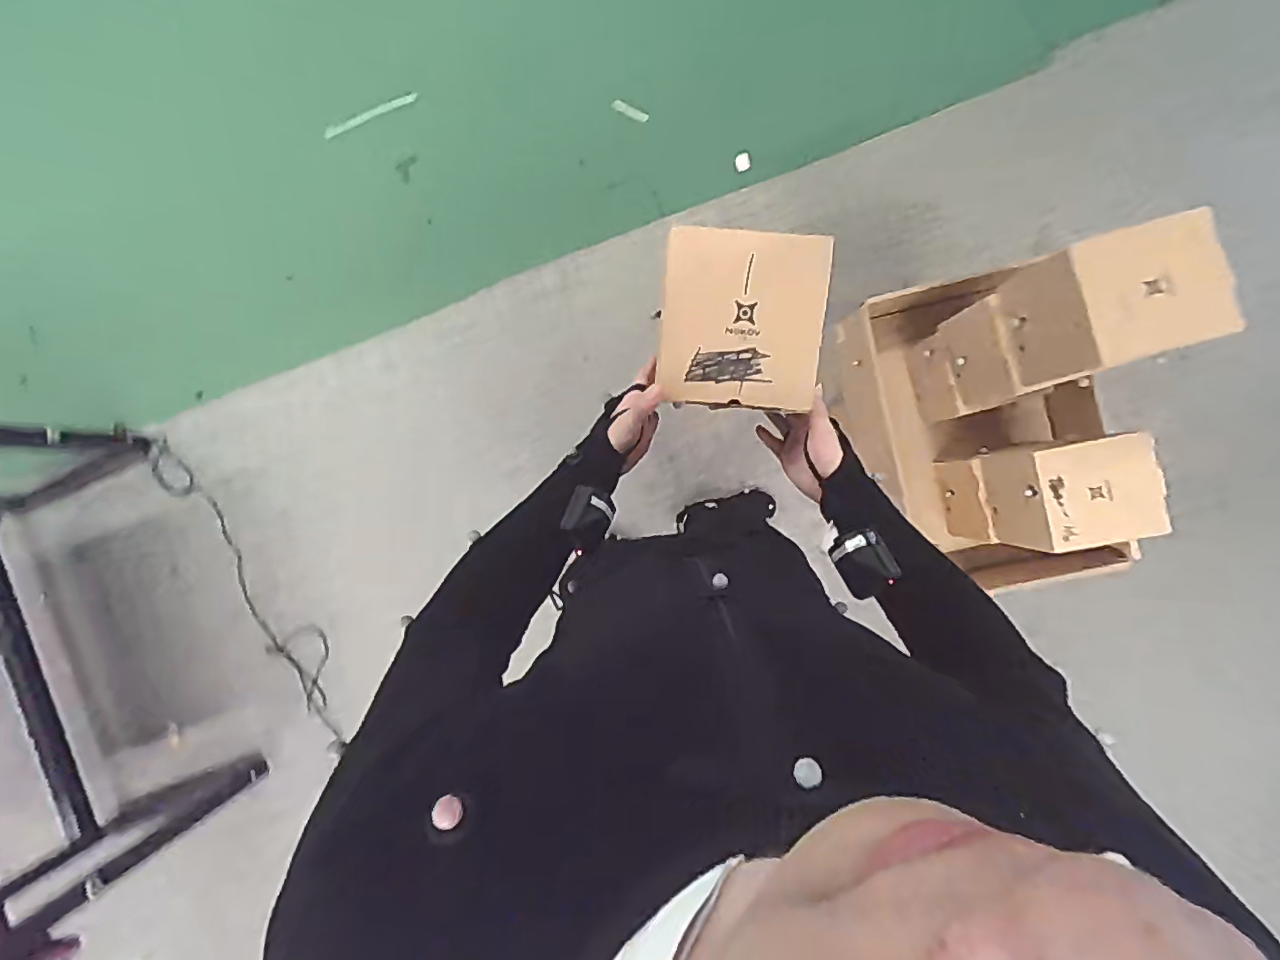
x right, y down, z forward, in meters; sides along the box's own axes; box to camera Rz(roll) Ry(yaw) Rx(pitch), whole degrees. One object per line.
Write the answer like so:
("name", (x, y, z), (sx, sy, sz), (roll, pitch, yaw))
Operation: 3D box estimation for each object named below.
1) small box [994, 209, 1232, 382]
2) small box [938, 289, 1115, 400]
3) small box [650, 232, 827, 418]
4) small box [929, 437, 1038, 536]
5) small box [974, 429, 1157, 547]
("small box", (0.655, -0.248, 0.770), (0.179, 0.176, 0.168), (-15, 90, 4))
("small box", (0.657, -0.245, 0.933), (0.179, 0.176, 0.168), (-16, 90, 4))
("small box", (0.099, -0.174, 0.633), (0.168, 0.176, 0.179), (3, 102, -2))
("small box", (0.728, 0.007, 1.104), (0.179, 0.176, 0.168), (-13, 91, 5))
("small box", (0.726, 0.009, 0.939), (0.179, 0.176, 0.168), (-11, 91, 4))
